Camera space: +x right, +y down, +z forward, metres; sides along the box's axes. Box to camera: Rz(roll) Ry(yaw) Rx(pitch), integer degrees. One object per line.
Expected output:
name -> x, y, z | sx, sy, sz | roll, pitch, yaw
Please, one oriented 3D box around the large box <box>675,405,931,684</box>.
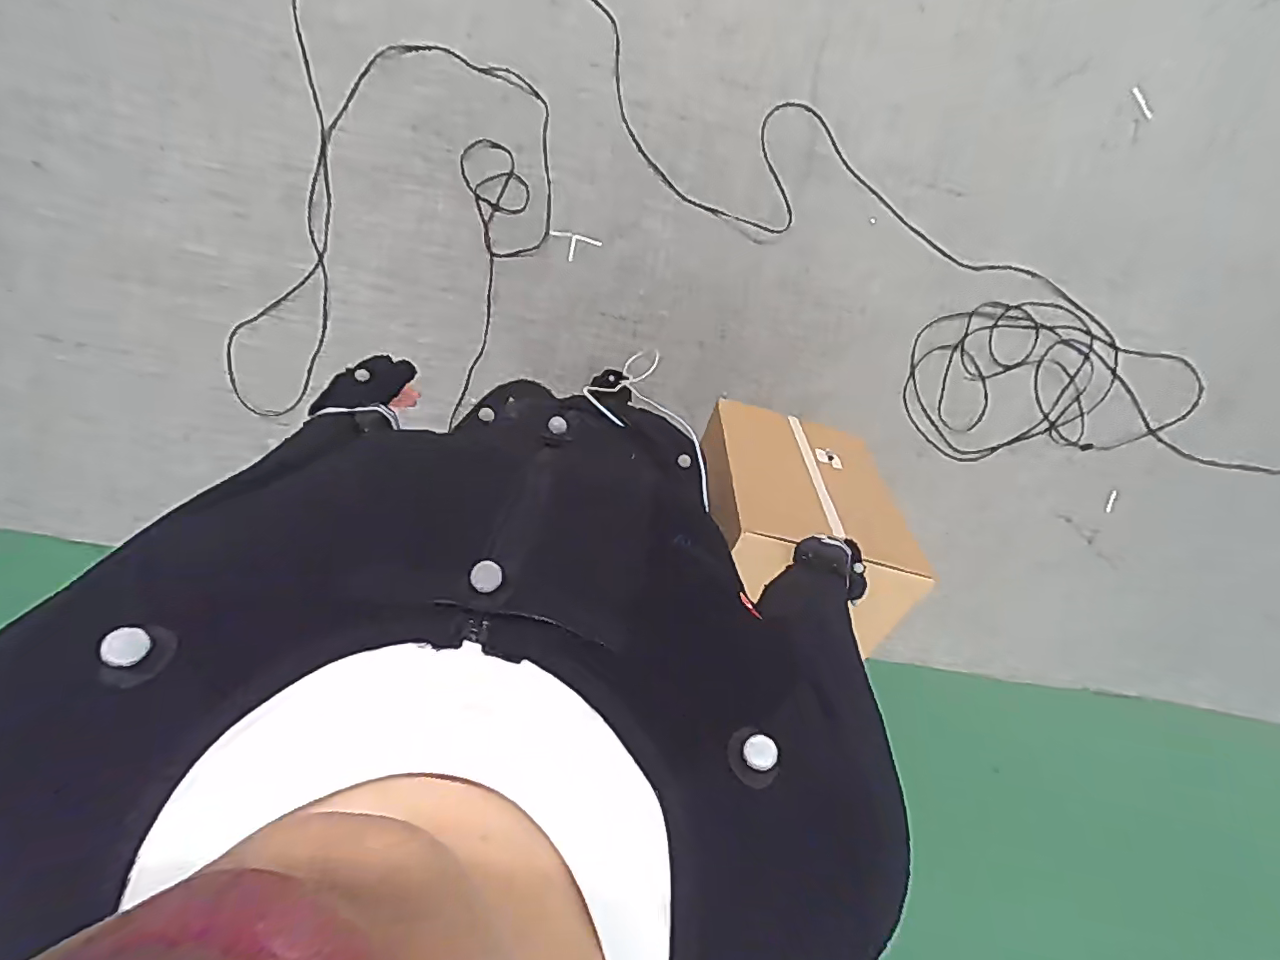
large box -> 0.260, 0.114, 1.036 | 0.320, 0.408, 0.320 | 15, 125, -8
